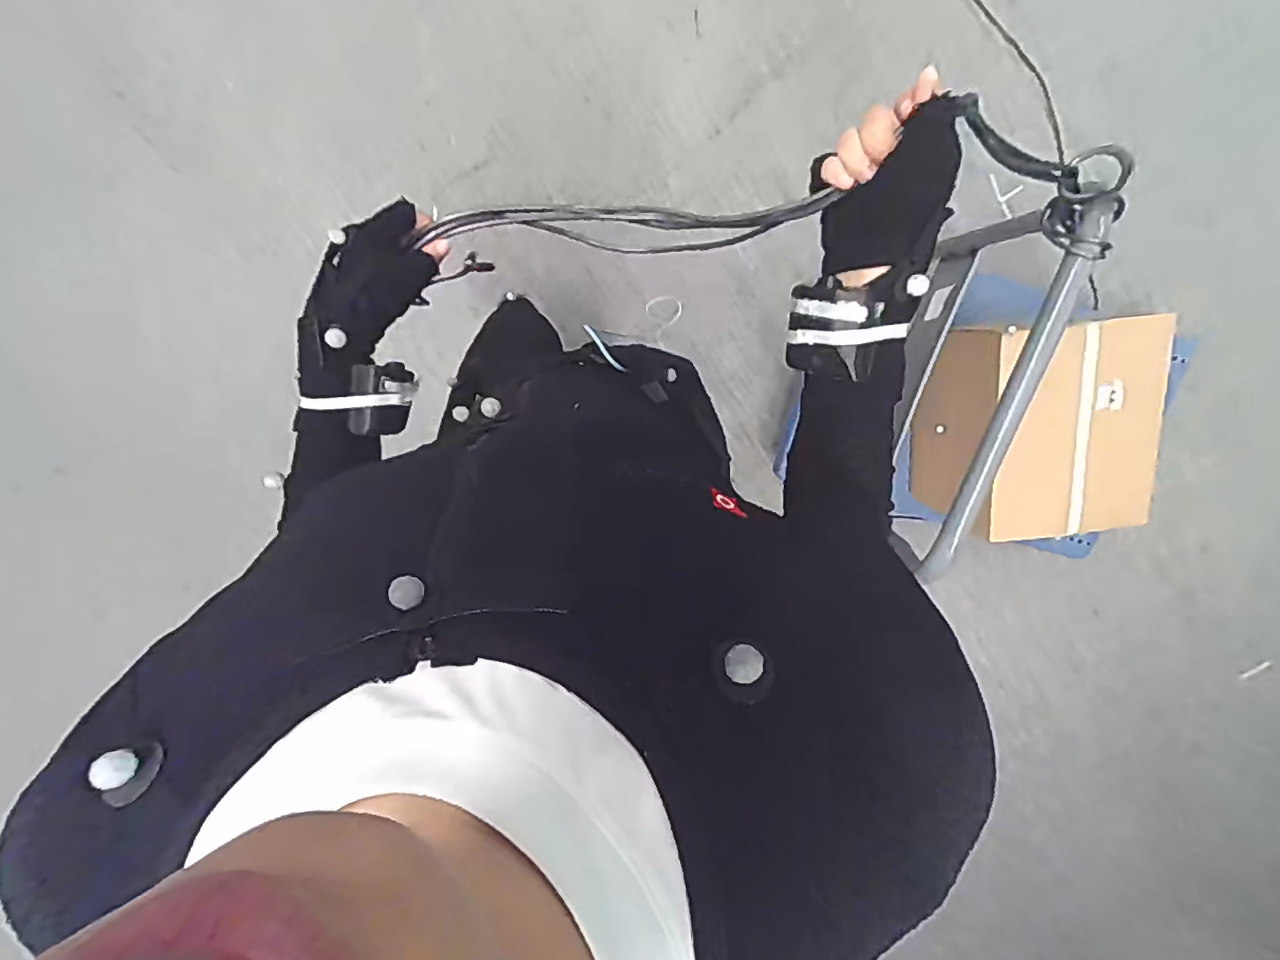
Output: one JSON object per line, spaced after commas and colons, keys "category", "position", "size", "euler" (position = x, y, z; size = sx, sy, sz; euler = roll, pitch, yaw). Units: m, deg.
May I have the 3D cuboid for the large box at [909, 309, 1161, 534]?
{"category": "large box", "position": [0.807, -0.136, 1.165], "size": [0.320, 0.320, 0.408], "euler": [-7, 105, -1]}
